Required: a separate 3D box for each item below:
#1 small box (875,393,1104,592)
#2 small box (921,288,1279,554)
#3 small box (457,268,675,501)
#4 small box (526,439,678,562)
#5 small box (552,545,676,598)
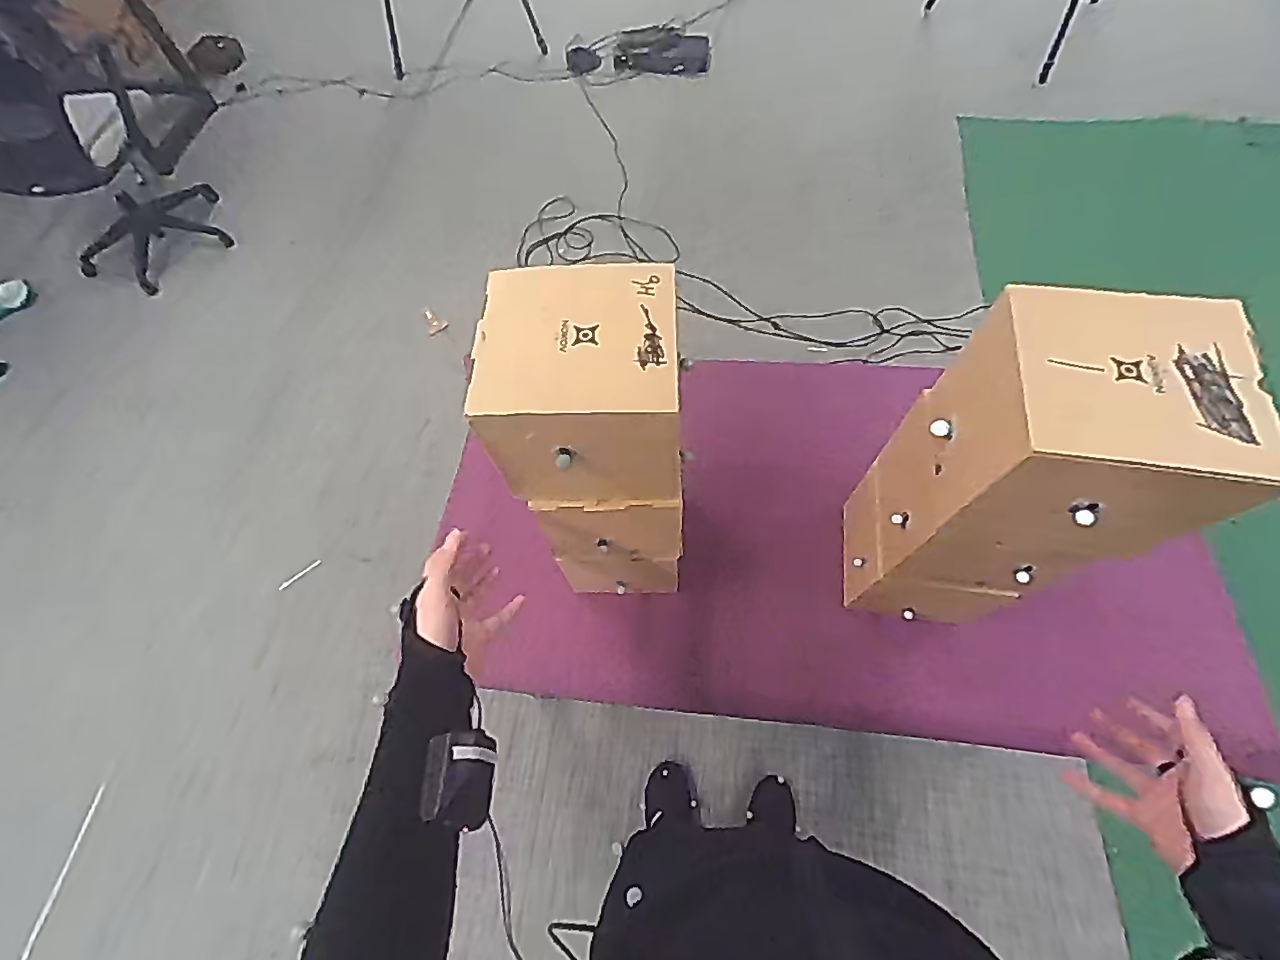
[{"bbox_3d":[0.385,0.022,0.632,0.168,0.176,0.179,6,64,8],"label":"small box"},{"bbox_3d":[0.375,-0.043,0.482,0.179,0.176,0.168,8,64,9],"label":"small box"},{"bbox_3d":[-0.056,-0.085,0.542,0.179,0.176,0.168,-1,64,5],"label":"small box"},{"bbox_3d":[-0.037,-0.007,0.685,0.168,0.176,0.179,-2,63,3],"label":"small box"},{"bbox_3d":[-0.029,0.070,0.827,0.168,0.176,0.179,0,63,5],"label":"small box"}]
